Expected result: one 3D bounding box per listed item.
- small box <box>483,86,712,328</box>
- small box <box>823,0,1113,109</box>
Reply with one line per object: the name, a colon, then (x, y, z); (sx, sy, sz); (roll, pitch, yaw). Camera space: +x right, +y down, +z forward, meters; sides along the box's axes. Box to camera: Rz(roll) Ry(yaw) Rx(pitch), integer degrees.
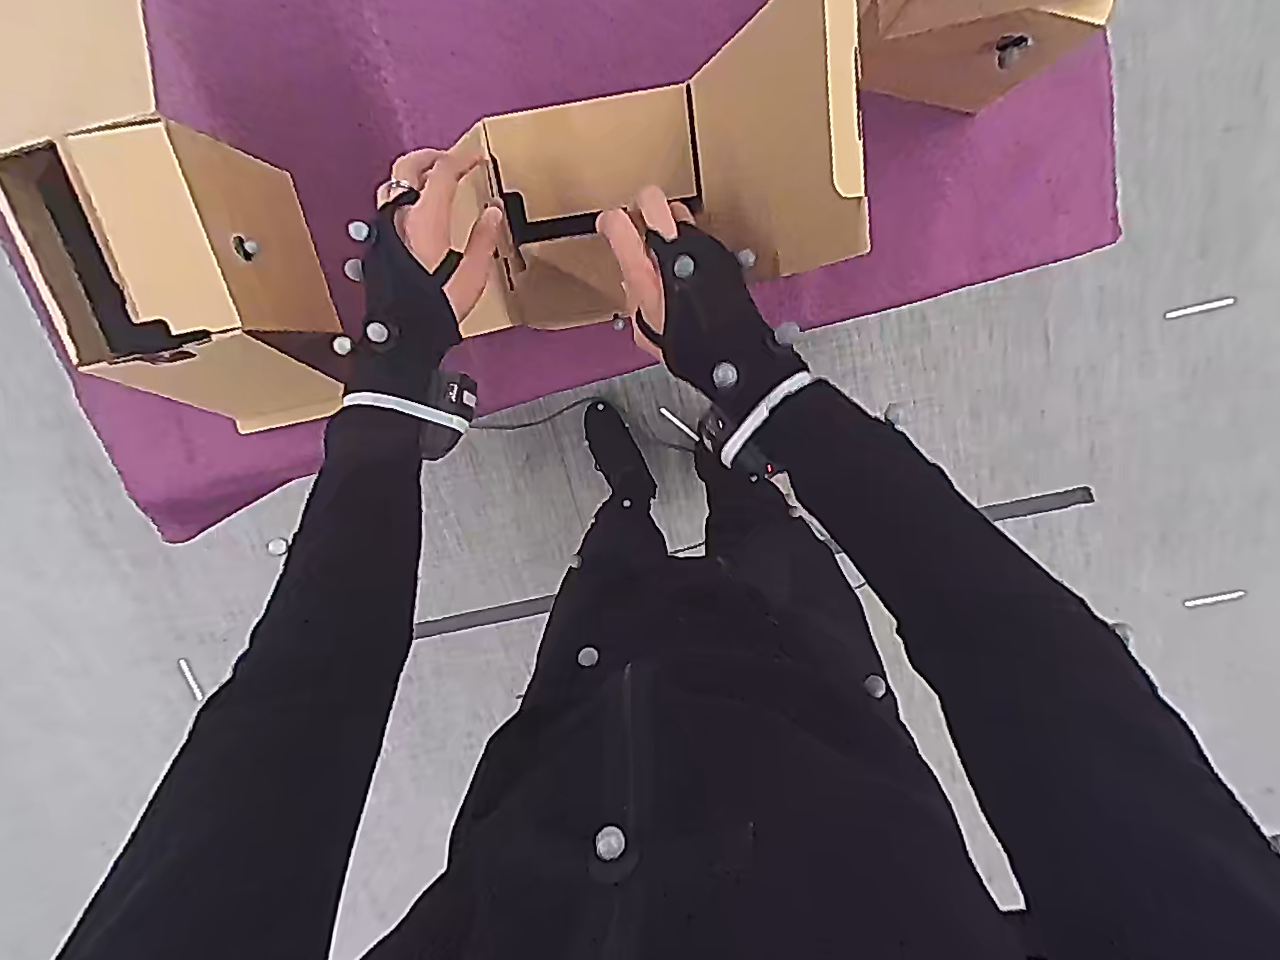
small box: (-0.031, -0.244, 0.530); (0.179, 0.176, 0.168); (-8, 105, 3)
small box: (0.285, -0.453, 0.465); (0.179, 0.176, 0.168); (12, 104, -1)
